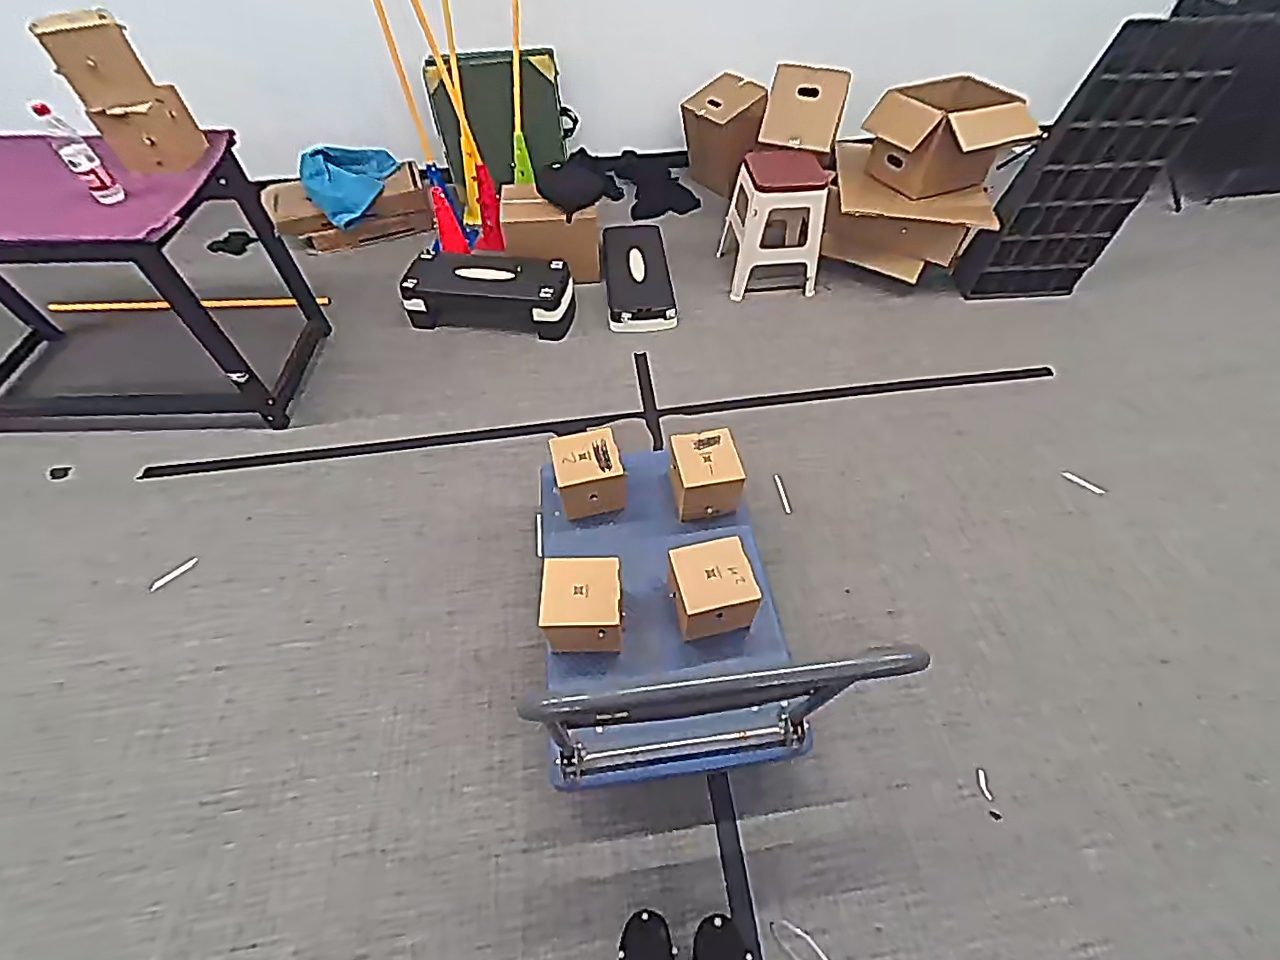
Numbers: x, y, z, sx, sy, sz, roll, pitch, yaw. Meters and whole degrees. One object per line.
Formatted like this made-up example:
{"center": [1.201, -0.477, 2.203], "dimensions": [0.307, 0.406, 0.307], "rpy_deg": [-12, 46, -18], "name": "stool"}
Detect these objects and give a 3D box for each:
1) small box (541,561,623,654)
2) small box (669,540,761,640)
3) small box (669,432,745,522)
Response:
{"center": [-0.130, 0.304, 1.279], "dimensions": [0.179, 0.176, 0.168], "rpy_deg": [-1, 54, -2], "name": "small box"}
{"center": [0.172, 0.269, 1.302], "dimensions": [0.179, 0.176, 0.168], "rpy_deg": [-11, 55, -7], "name": "small box"}
{"center": [0.178, -0.006, 1.502], "dimensions": [0.168, 0.176, 0.179], "rpy_deg": [-9, 56, -6], "name": "small box"}
